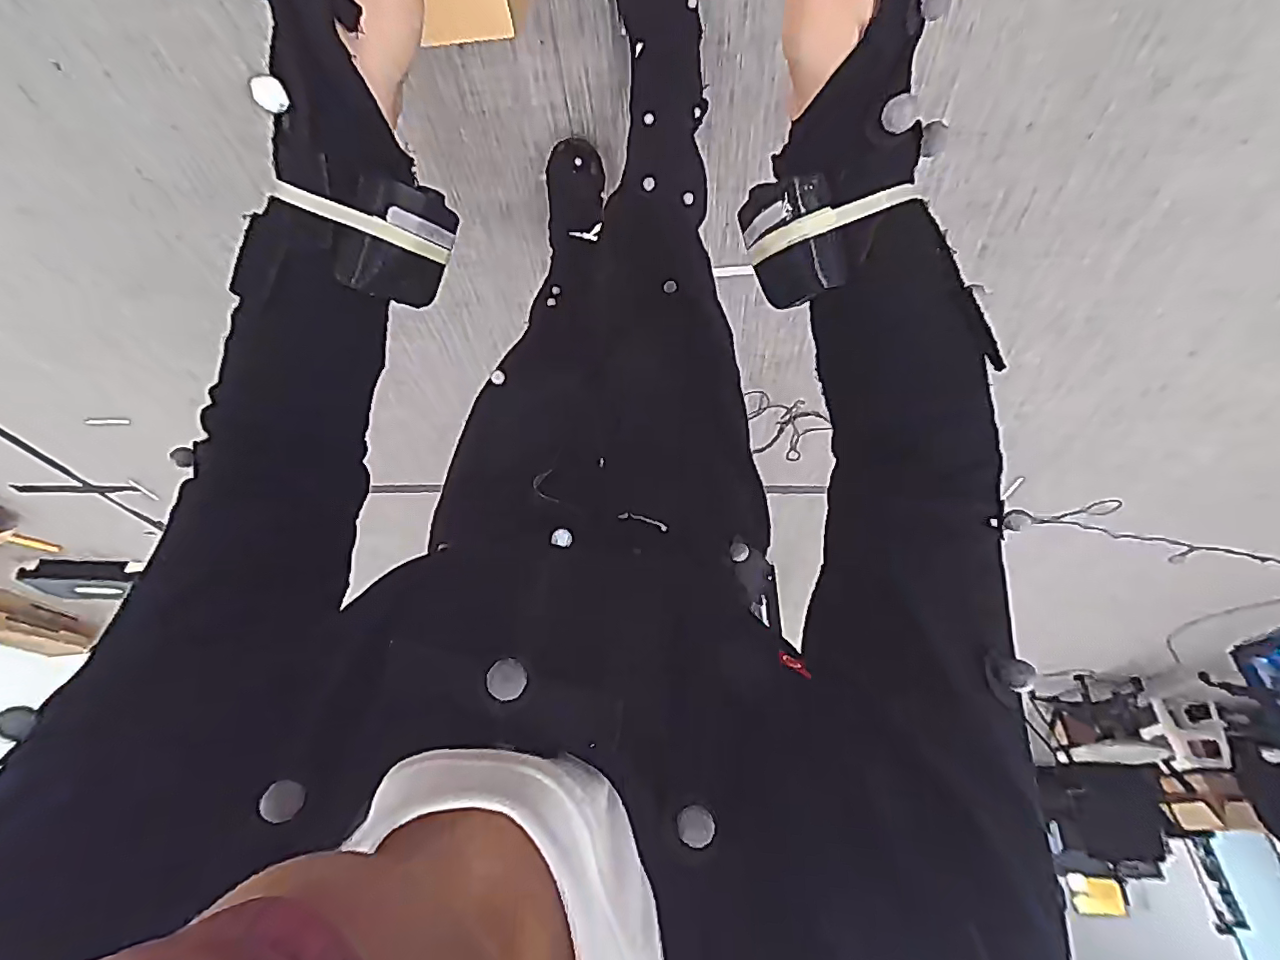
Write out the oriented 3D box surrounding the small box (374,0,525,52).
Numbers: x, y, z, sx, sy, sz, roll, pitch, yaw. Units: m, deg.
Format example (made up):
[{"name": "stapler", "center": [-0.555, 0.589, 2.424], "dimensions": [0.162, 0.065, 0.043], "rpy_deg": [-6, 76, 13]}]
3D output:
[{"name": "small box", "center": [-0.256, -0.698, 0.708], "dimensions": [0.179, 0.176, 0.168], "rpy_deg": [-1, 146, 6]}]
